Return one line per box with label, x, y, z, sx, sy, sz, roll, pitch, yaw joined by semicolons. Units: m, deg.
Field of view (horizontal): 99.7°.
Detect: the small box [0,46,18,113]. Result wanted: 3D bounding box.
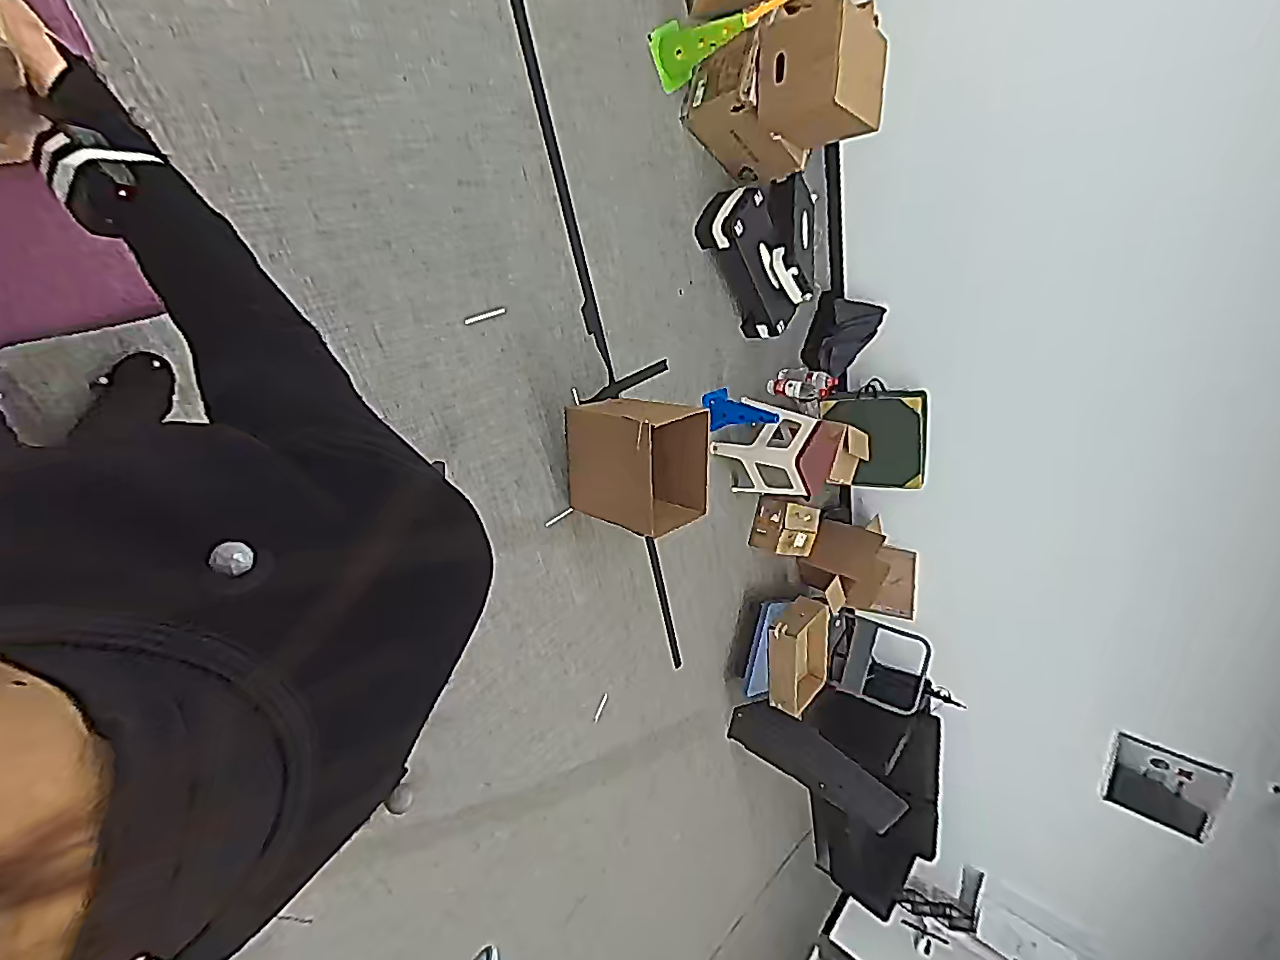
small box;-0.537;-0.342;0.324;0.168;0.176;0.179;-30;119;-38
